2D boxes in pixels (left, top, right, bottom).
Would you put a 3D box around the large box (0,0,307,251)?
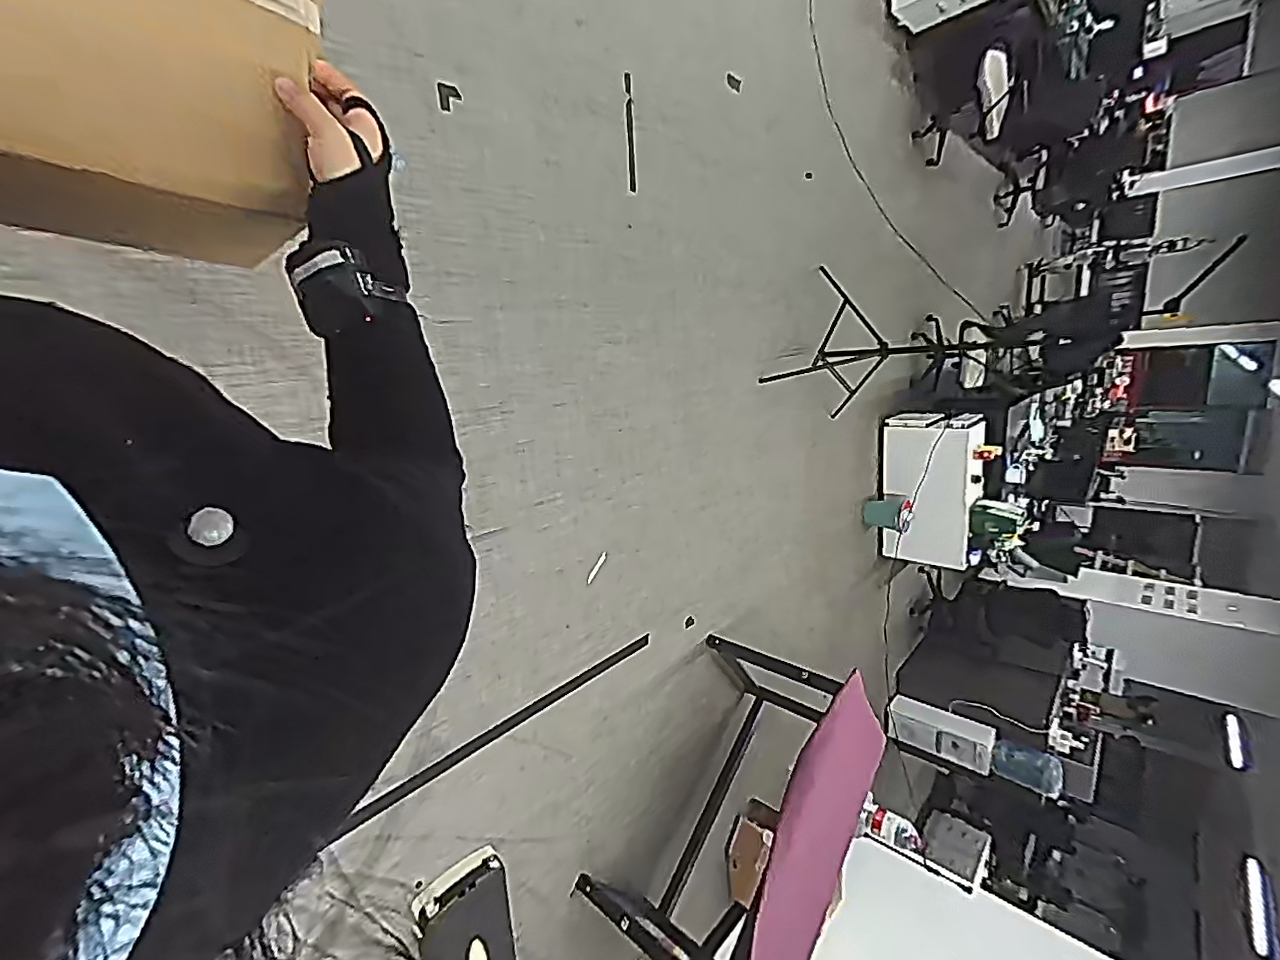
[{"bbox_3d":[-0.517,-0.391,0.410,0.408,0.320,0.320,-4,101,-42],"label":"large box"}]
